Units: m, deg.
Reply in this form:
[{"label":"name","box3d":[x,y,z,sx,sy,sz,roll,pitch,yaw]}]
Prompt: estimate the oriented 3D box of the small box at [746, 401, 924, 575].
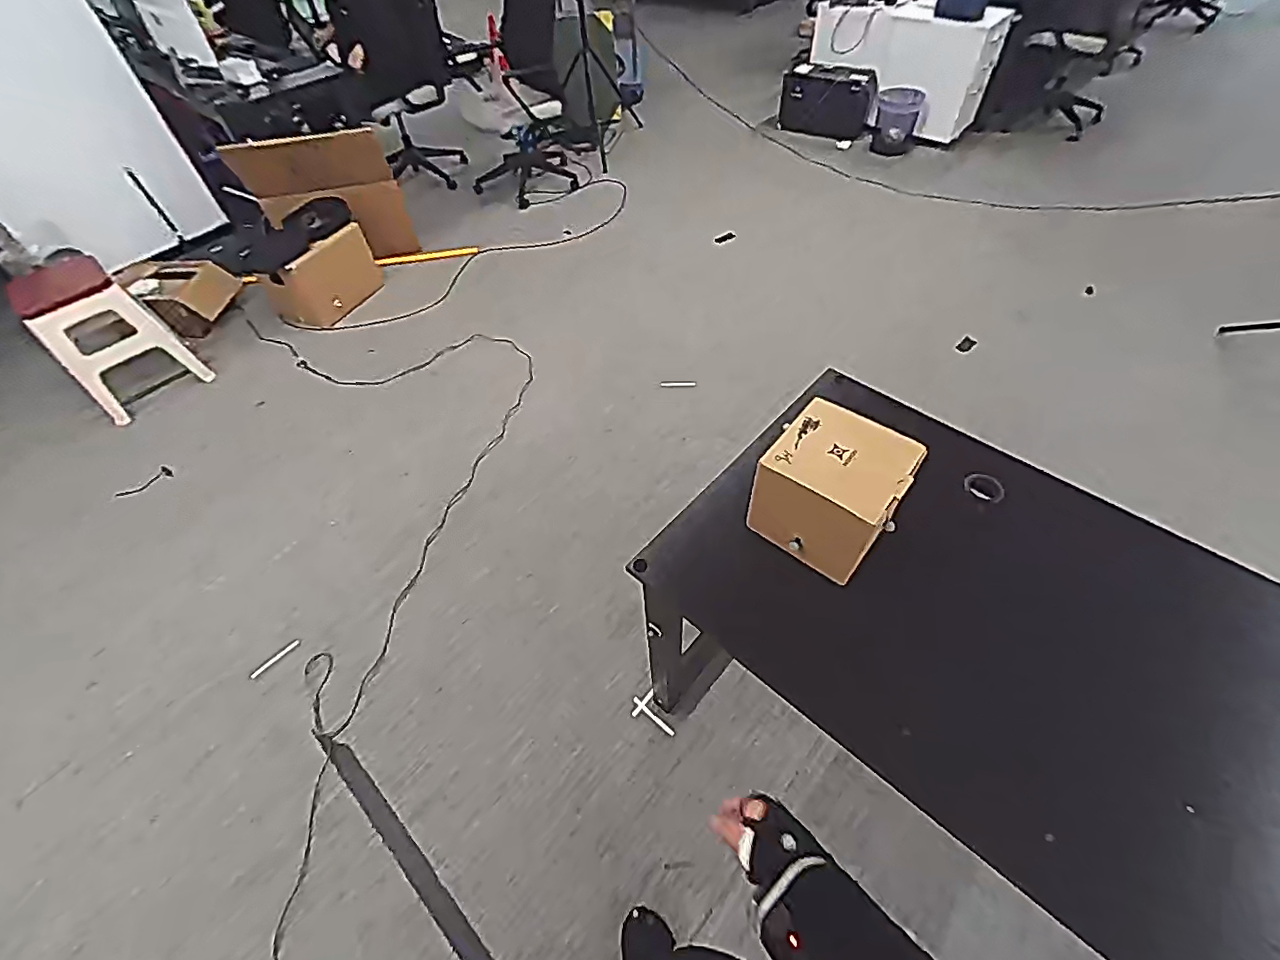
[{"label":"small box","box3d":[0.283,0.019,0.819,0.179,0.176,0.168,33,60,24]}]
